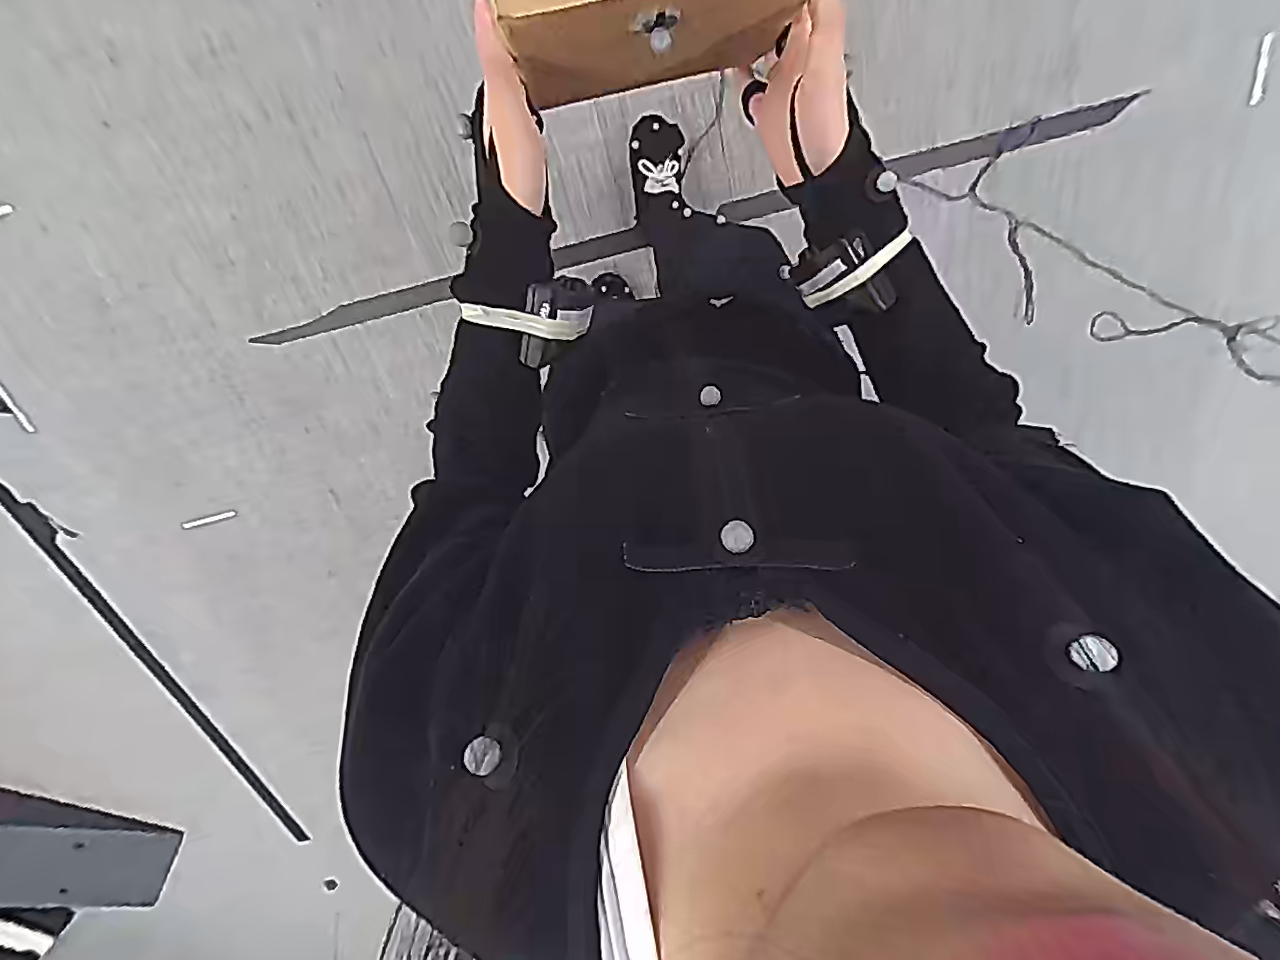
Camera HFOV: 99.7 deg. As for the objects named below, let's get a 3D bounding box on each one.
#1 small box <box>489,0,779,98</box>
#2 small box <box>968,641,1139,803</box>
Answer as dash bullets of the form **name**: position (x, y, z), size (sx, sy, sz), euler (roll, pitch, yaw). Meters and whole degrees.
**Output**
- **small box**: position (-0.008, -0.340, 0.297), size (0.179, 0.176, 0.168), euler (-13, 113, -1)
- **small box**: position (0.691, 0.401, 0.922), size (0.168, 0.176, 0.179), euler (-19, 115, 3)
